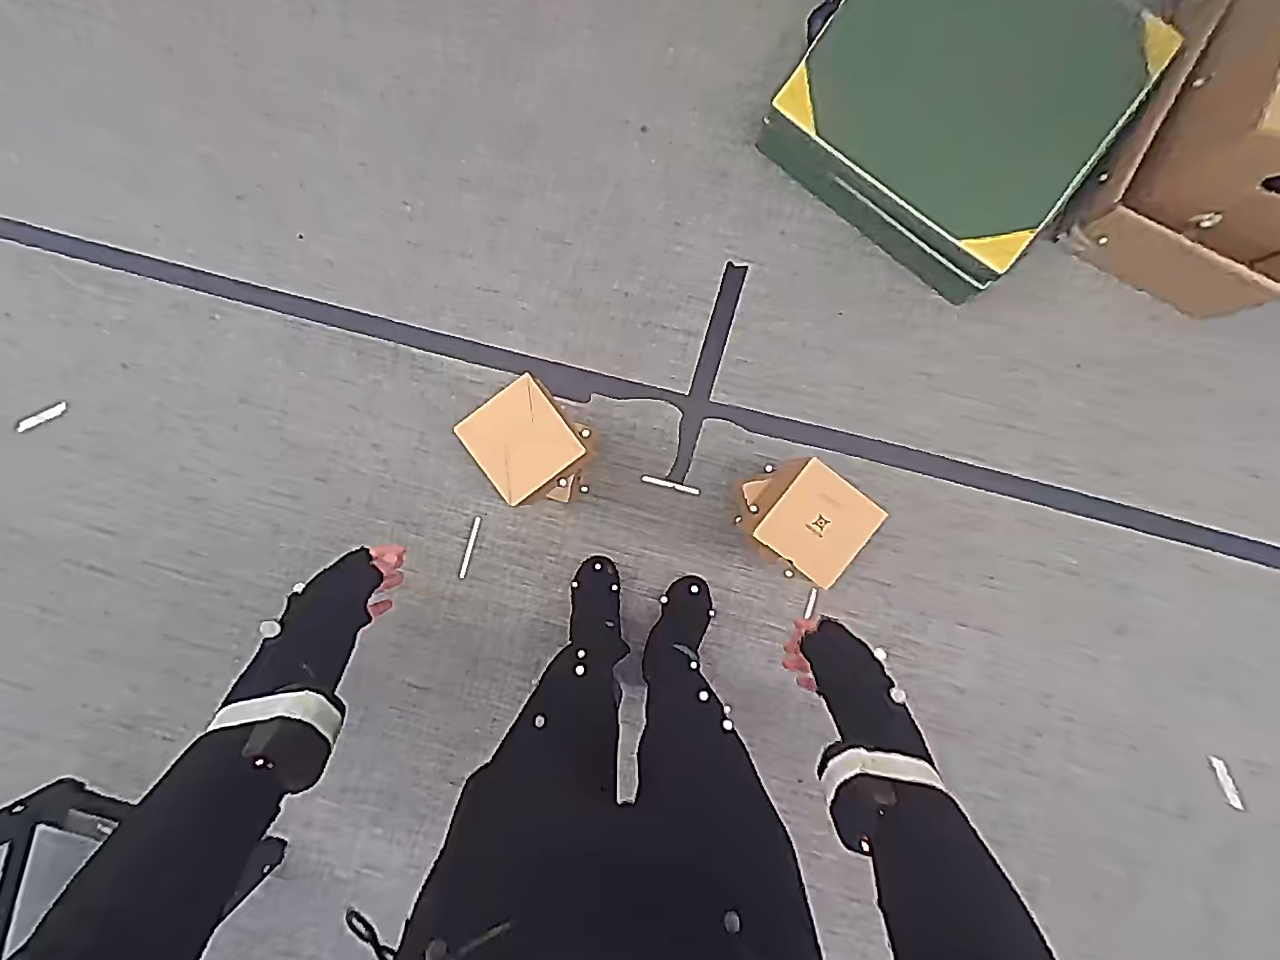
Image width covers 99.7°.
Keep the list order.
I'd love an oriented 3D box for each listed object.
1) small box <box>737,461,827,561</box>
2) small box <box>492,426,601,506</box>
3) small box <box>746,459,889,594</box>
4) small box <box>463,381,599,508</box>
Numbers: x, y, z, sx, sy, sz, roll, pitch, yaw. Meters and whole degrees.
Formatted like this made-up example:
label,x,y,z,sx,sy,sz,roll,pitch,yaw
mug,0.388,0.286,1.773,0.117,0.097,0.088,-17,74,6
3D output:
label,x,y,z,sx,sy,sz,roll,pitch,yaw
small box,0.318,0.064,1.168,0.179,0.176,0.168,-18,90,1
small box,-0.195,-0.049,1.186,0.179,0.176,0.168,17,90,3
small box,0.314,0.080,1.003,0.168,0.176,0.179,39,91,0
small box,-0.201,-0.062,1.019,0.168,0.176,0.179,-41,90,1
